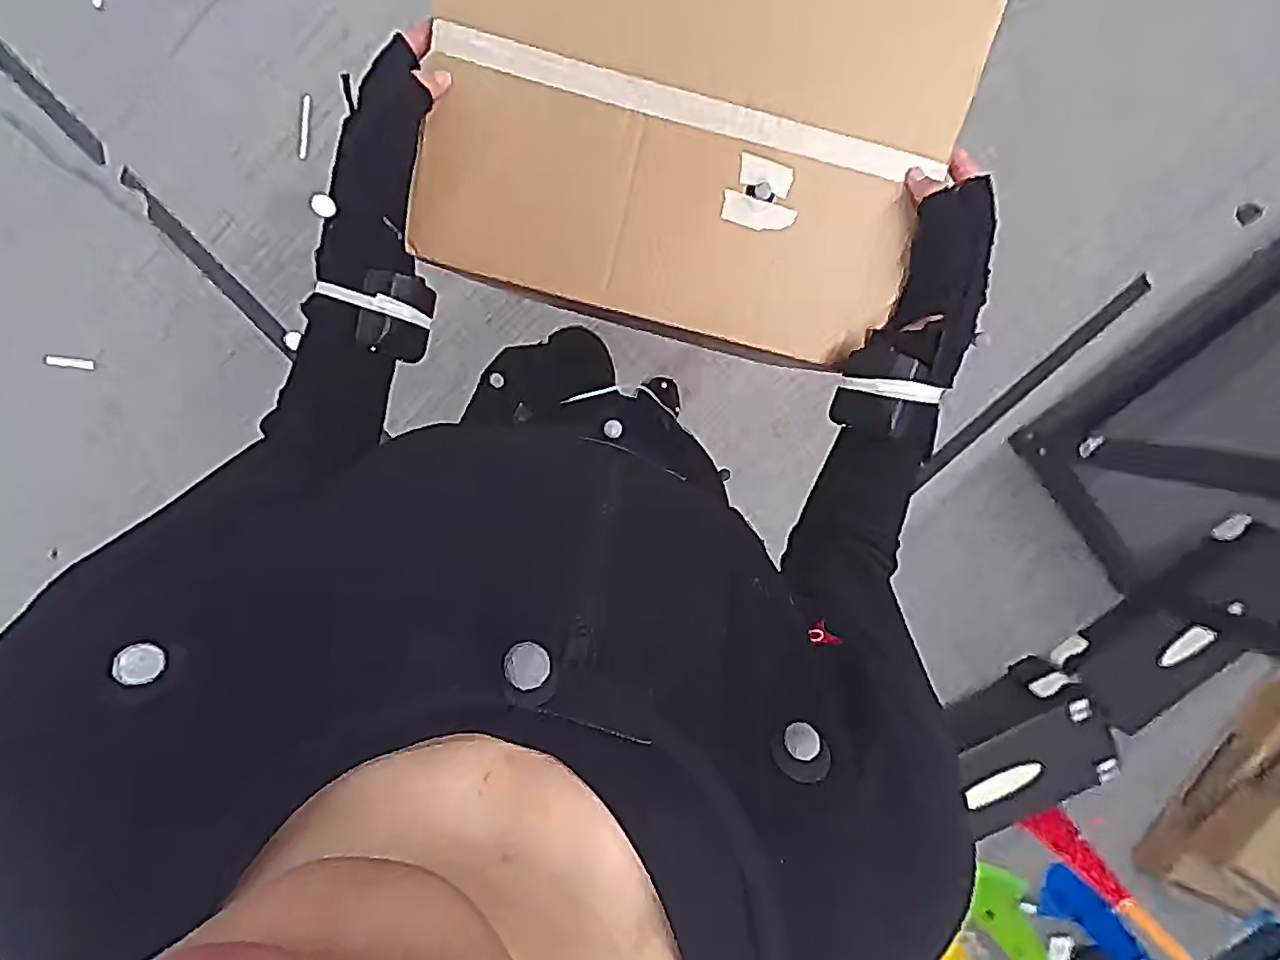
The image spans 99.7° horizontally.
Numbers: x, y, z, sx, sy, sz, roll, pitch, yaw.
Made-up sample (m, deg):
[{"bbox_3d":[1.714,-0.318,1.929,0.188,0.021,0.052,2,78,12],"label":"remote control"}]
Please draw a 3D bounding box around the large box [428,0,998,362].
[{"bbox_3d":[0.047,-0.325,0.570,0.408,0.320,0.320,14,104,-4],"label":"large box"}]
